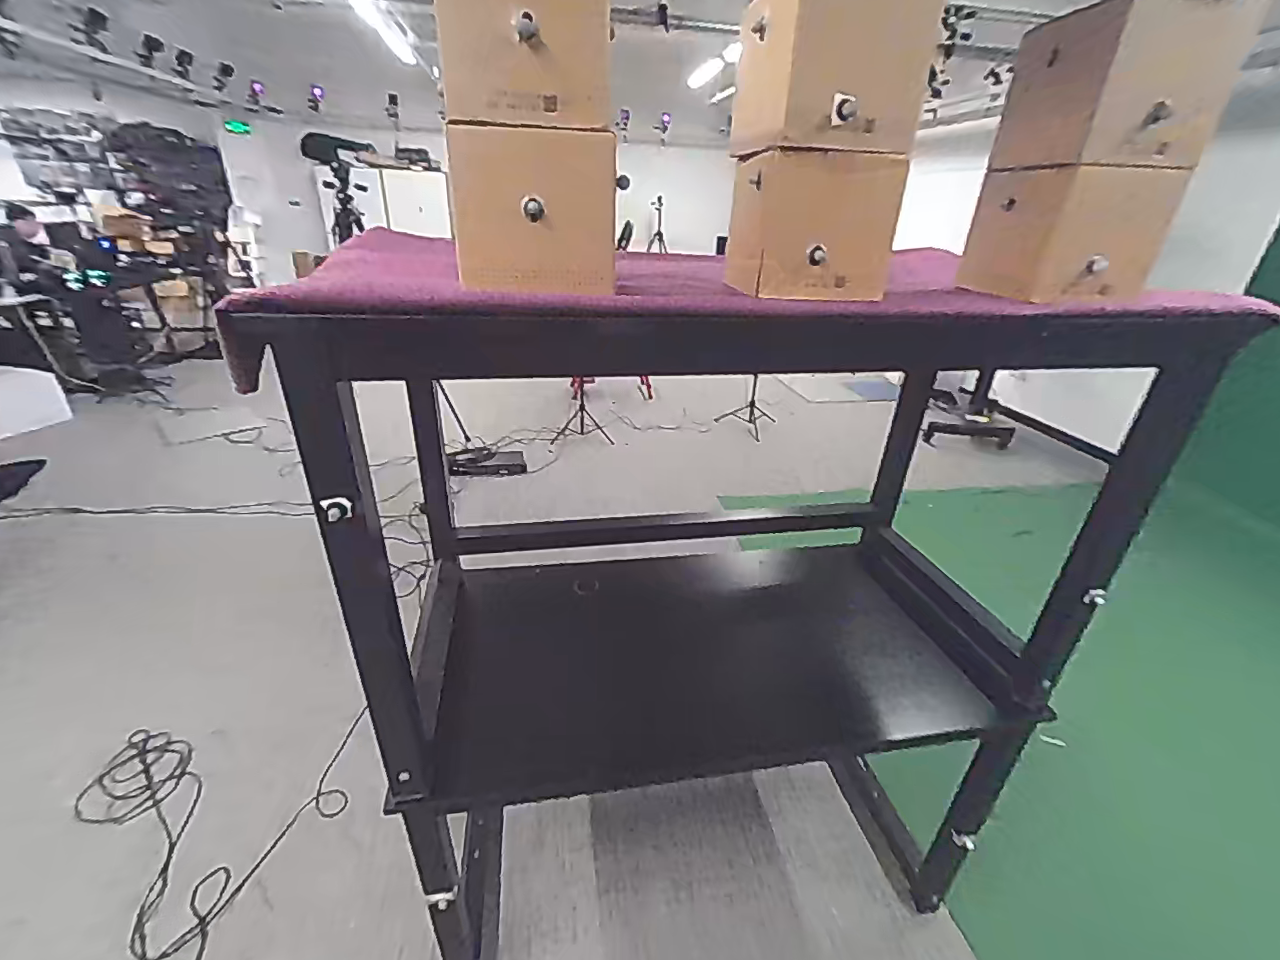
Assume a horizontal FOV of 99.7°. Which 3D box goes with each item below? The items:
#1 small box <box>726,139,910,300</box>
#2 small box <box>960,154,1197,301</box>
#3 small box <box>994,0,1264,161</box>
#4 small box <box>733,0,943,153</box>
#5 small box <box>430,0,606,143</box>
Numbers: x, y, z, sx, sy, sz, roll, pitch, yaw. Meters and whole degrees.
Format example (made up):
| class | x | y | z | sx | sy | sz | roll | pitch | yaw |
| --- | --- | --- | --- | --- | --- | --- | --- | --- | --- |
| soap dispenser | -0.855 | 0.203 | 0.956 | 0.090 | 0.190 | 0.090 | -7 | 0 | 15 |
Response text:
| class | x | y | z | sx | sy | sz | roll | pitch | yaw |
| --- | --- | --- | --- | --- | --- | --- | --- | --- | --- |
| small box | 0.218 | -0.341 | 0.718 | 0.168 | 0.176 | 0.179 | -1 | 27 | -6 |
| small box | 0.600 | -0.359 | 0.772 | 0.168 | 0.176 | 0.179 | -1 | 28 | -5 |
| small box | 0.604 | -0.506 | 0.698 | 0.168 | 0.176 | 0.179 | -2 | 28 | -5 |
| small box | 0.217 | -0.484 | 0.641 | 0.168 | 0.176 | 0.179 | -5 | 29 | -10 |
| small box | -0.126 | -0.472 | 0.586 | 0.168 | 0.176 | 0.179 | -3 | 27 | -9 |
